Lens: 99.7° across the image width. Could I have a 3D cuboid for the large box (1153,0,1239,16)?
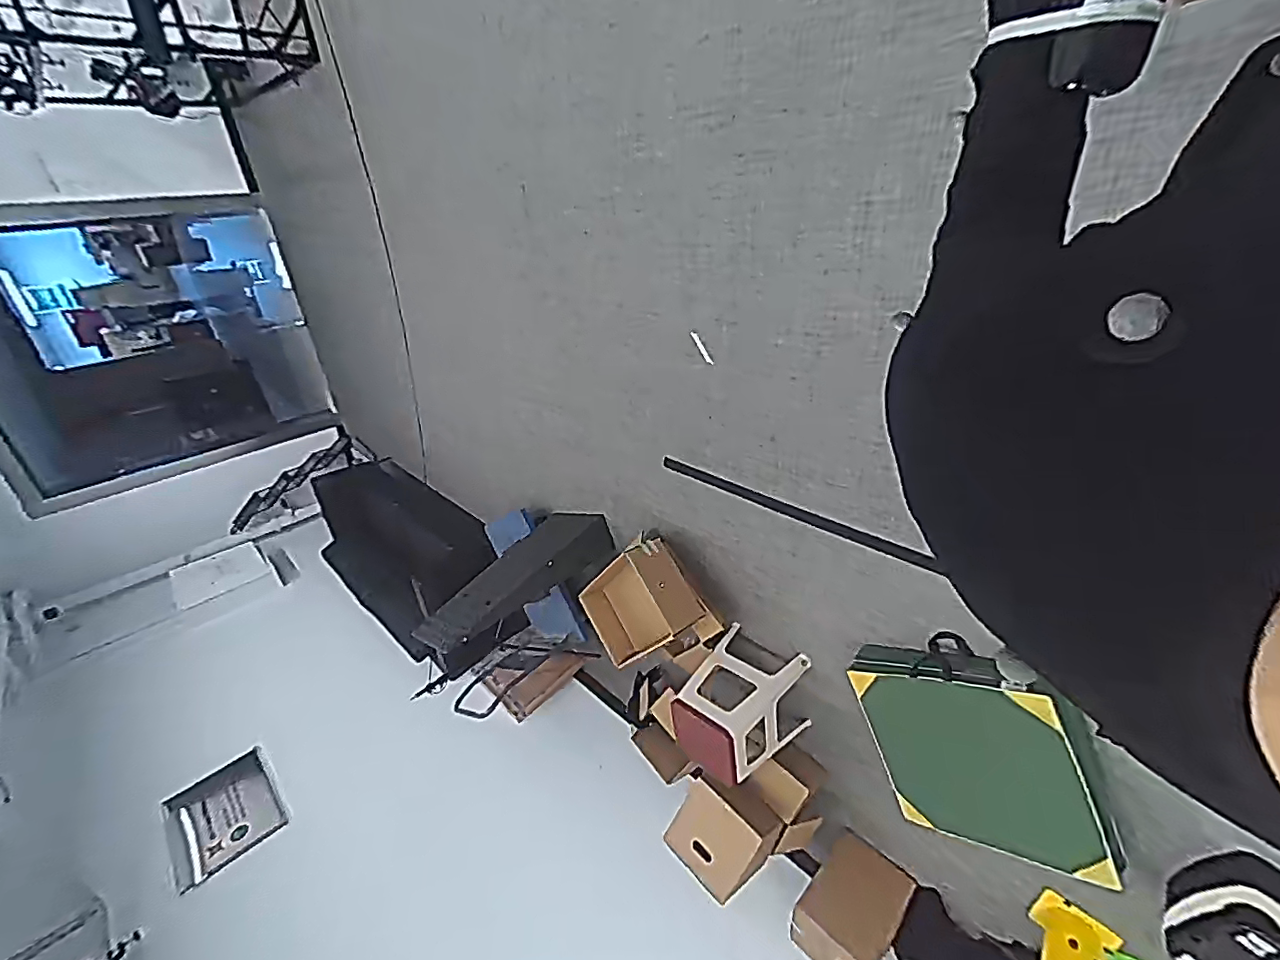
[{"bbox_3d":[0.508,-0.471,0.225,0.408,0.320,0.320,15,127,43],"label":"large box"}]
